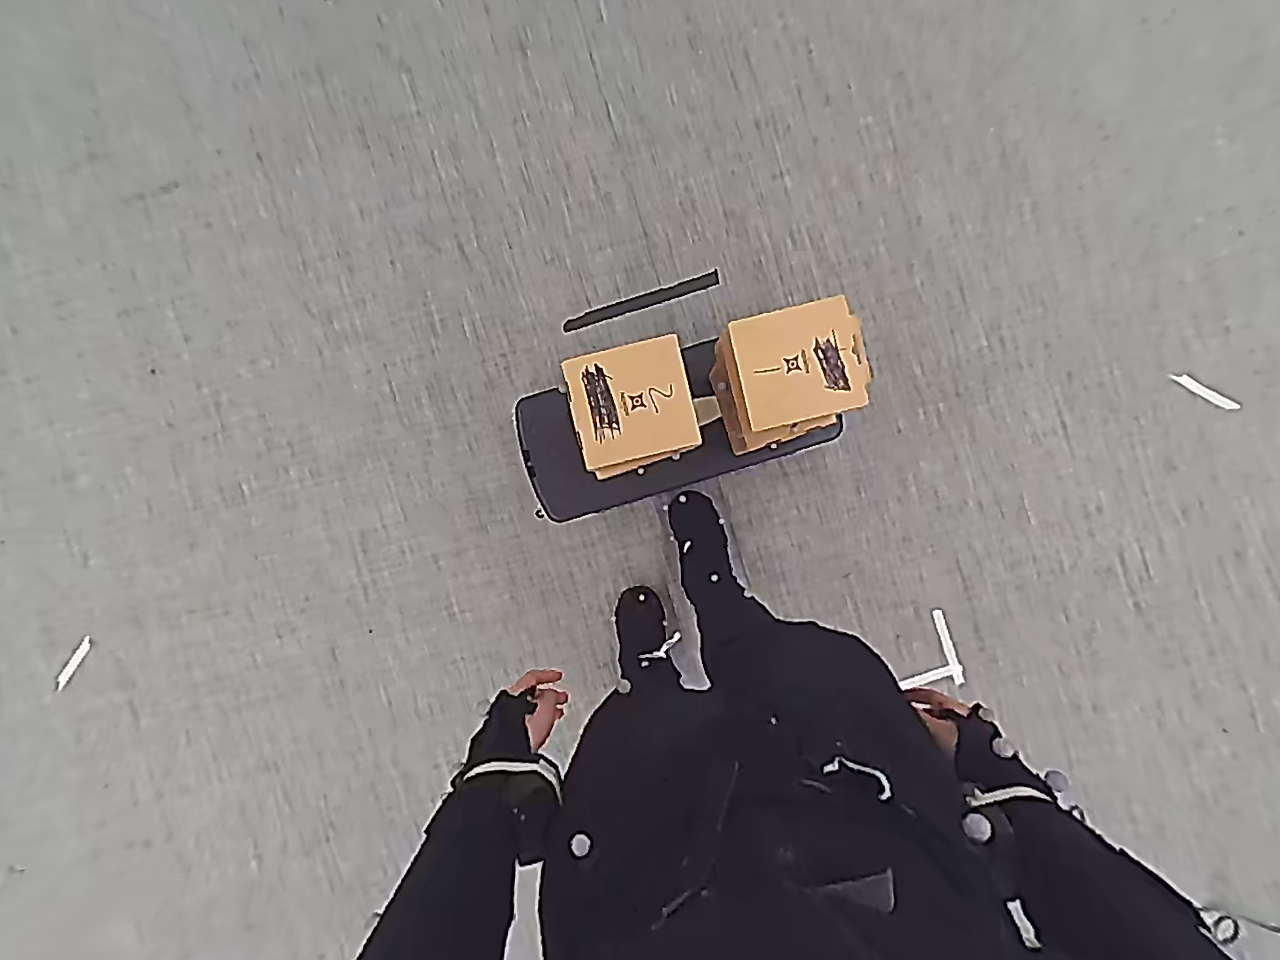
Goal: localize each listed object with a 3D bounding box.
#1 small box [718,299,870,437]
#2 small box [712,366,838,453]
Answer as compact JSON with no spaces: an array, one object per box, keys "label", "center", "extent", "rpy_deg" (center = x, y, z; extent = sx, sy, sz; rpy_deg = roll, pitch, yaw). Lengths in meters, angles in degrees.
[{"label":"small box","center":[0.233,-0.168,0.859],"extent":[0.179,0.176,0.168],"rpy_deg":[-13,91,2]},{"label":"small box","center":[0.244,-0.158,1.023],"extent":[0.168,0.176,0.179],"rpy_deg":[-19,91,1]}]
